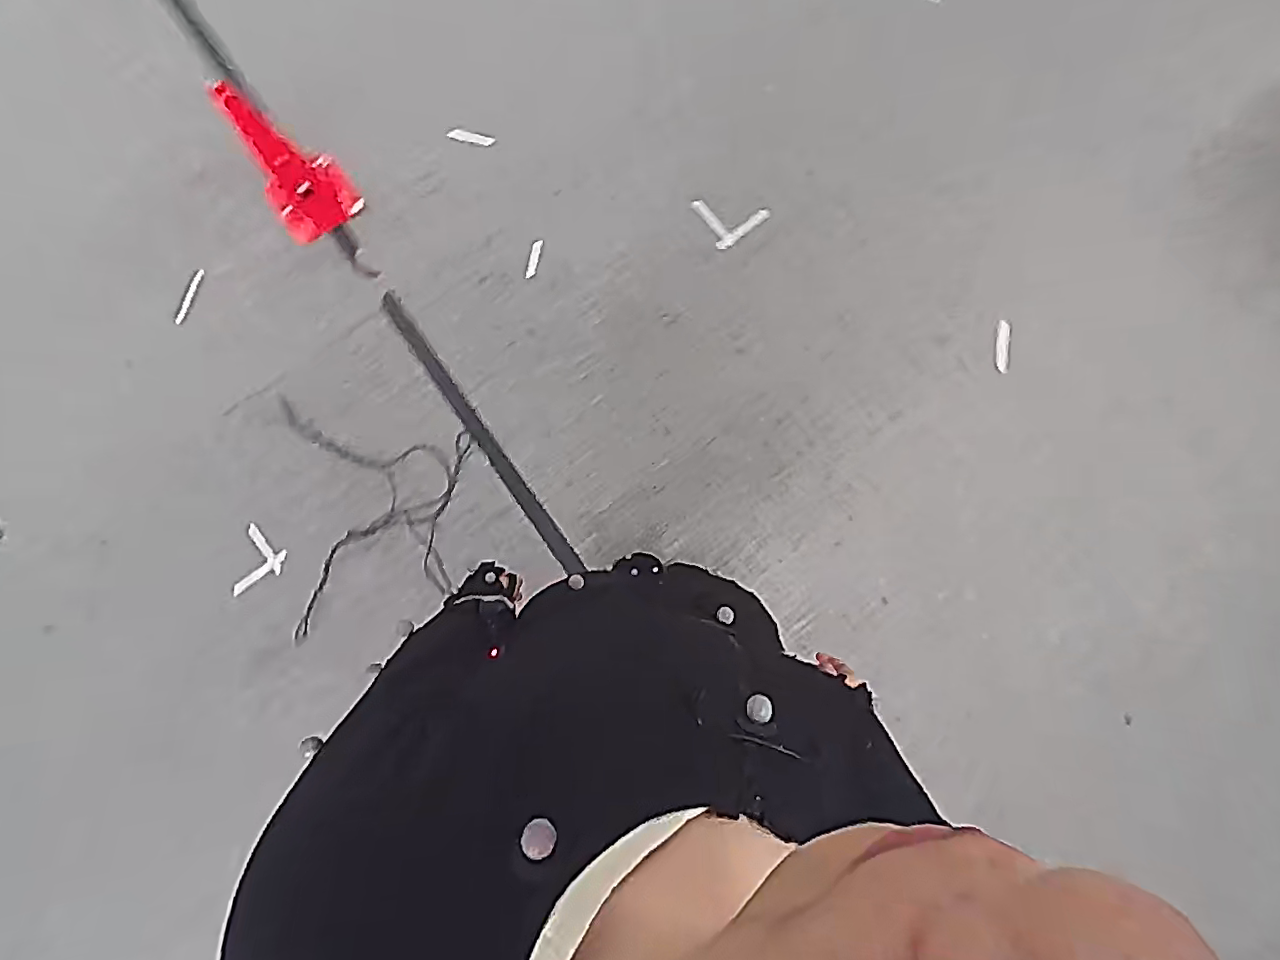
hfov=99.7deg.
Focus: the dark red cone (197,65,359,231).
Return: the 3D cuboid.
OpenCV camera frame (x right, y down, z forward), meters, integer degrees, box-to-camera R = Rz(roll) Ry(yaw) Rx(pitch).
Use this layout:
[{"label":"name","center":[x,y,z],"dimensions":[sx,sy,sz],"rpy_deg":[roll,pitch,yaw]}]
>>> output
[{"label":"dark red cone","center":[-0.861,-0.789,1.258],"dimensions":[0.201,0.394,0.202],"rpy_deg":[-36,87,-5]}]
